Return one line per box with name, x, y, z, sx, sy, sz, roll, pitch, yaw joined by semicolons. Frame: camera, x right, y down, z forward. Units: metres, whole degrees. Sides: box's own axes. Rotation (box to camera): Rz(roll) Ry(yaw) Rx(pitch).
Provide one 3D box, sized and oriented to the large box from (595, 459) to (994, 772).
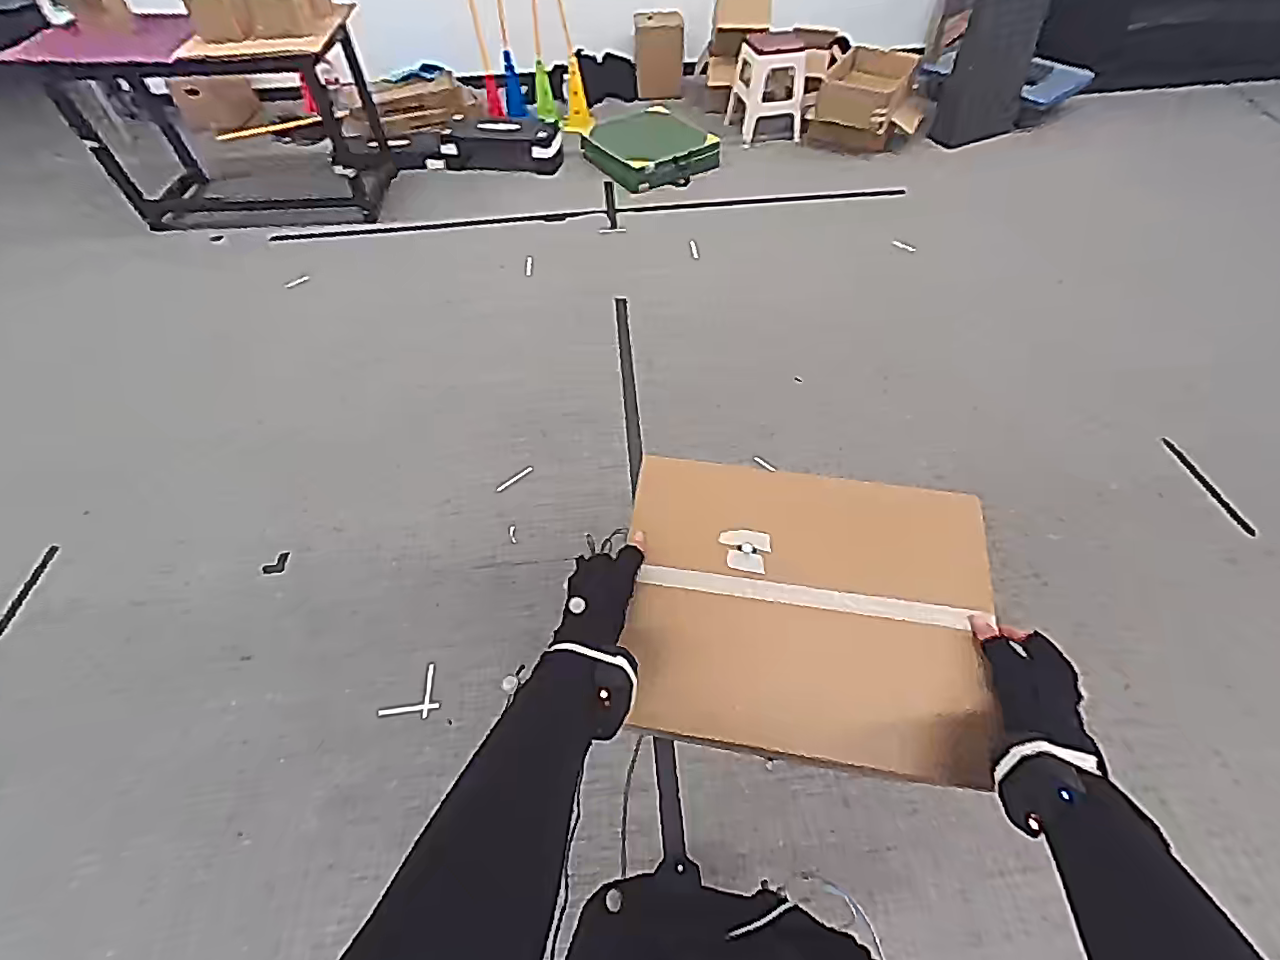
large box;0.181;0.192;0.741;0.408;0.320;0.320;7;63;8
